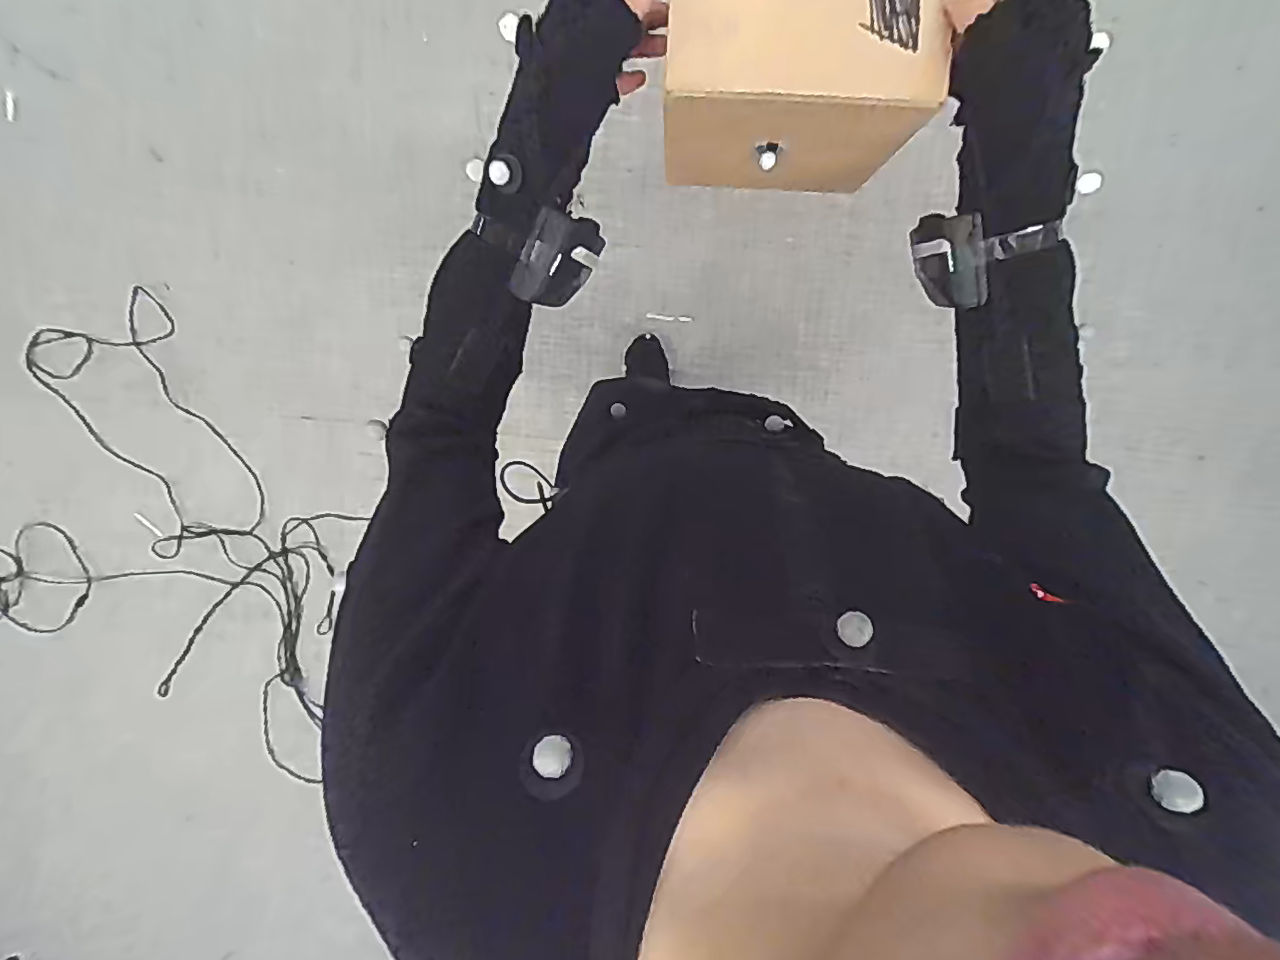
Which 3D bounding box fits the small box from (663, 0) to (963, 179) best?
[{"bbox_3d":[0.110,-0.337,0.392,0.179,0.176,0.168,4,101,3],"label":"small box"}]
